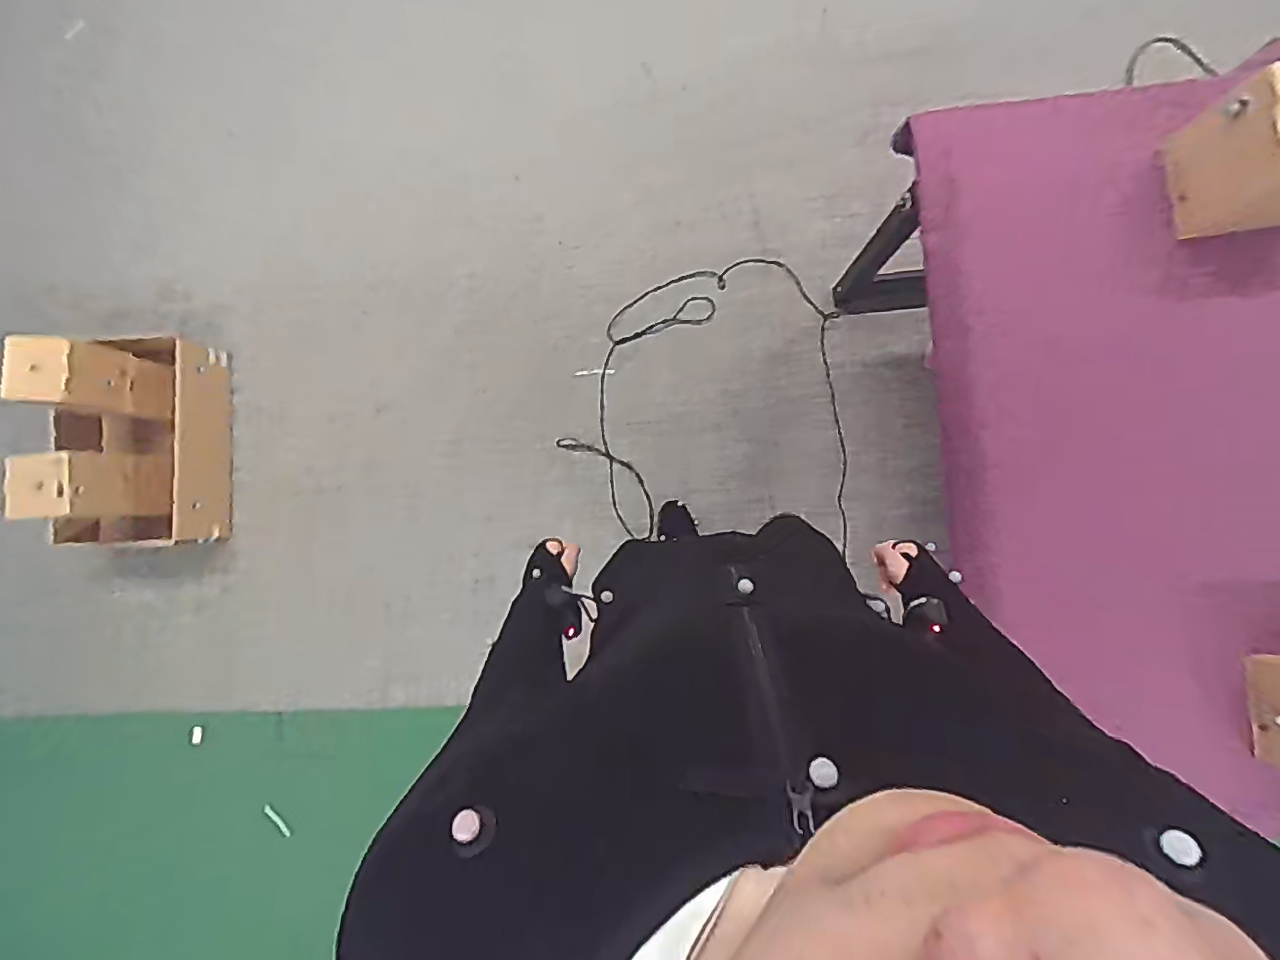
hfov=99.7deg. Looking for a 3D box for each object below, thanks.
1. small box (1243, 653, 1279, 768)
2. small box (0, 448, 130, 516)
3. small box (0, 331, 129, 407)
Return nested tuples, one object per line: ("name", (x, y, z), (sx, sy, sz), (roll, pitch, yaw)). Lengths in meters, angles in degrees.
("small box", (1.037, 0.346, 0.767), (0.179, 0.176, 0.168), (-2, 86, 4))
("small box", (-1.519, 0.009, 1.436), (0.179, 0.176, 0.168), (-4, 89, 4))
("small box", (-1.539, -0.290, 1.447), (0.179, 0.176, 0.168), (2, 88, 2))
